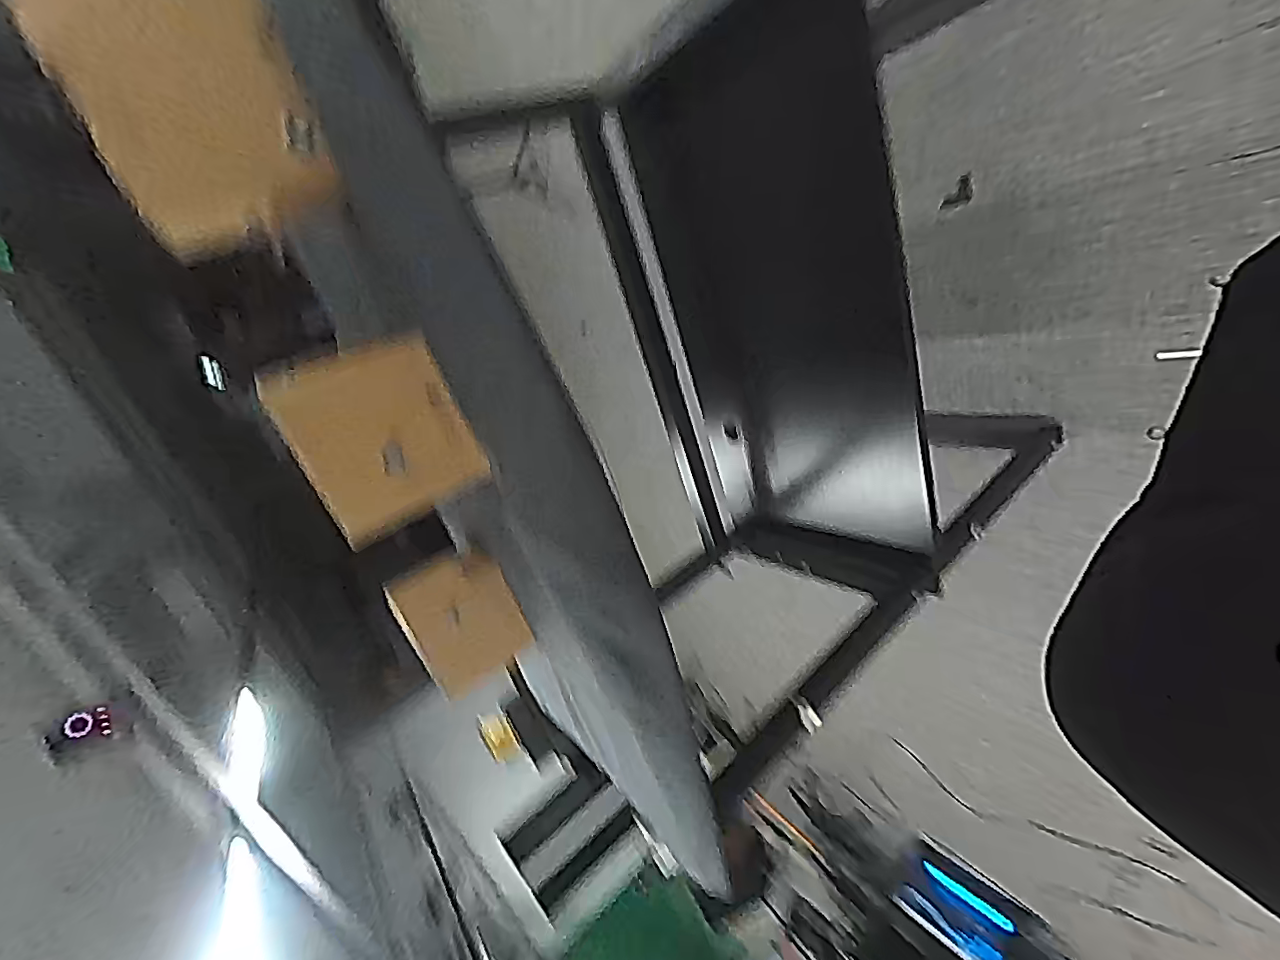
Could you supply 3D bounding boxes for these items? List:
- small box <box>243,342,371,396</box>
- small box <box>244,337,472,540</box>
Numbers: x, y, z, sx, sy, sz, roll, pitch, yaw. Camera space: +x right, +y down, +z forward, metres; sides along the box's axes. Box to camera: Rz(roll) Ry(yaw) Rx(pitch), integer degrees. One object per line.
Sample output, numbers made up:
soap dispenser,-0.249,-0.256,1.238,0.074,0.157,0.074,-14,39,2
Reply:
small box,-0.467,-0.101,0.828,0.179,0.176,0.168,12,128,55
small box,-0.317,-0.057,0.627,0.179,0.176,0.168,14,130,56
